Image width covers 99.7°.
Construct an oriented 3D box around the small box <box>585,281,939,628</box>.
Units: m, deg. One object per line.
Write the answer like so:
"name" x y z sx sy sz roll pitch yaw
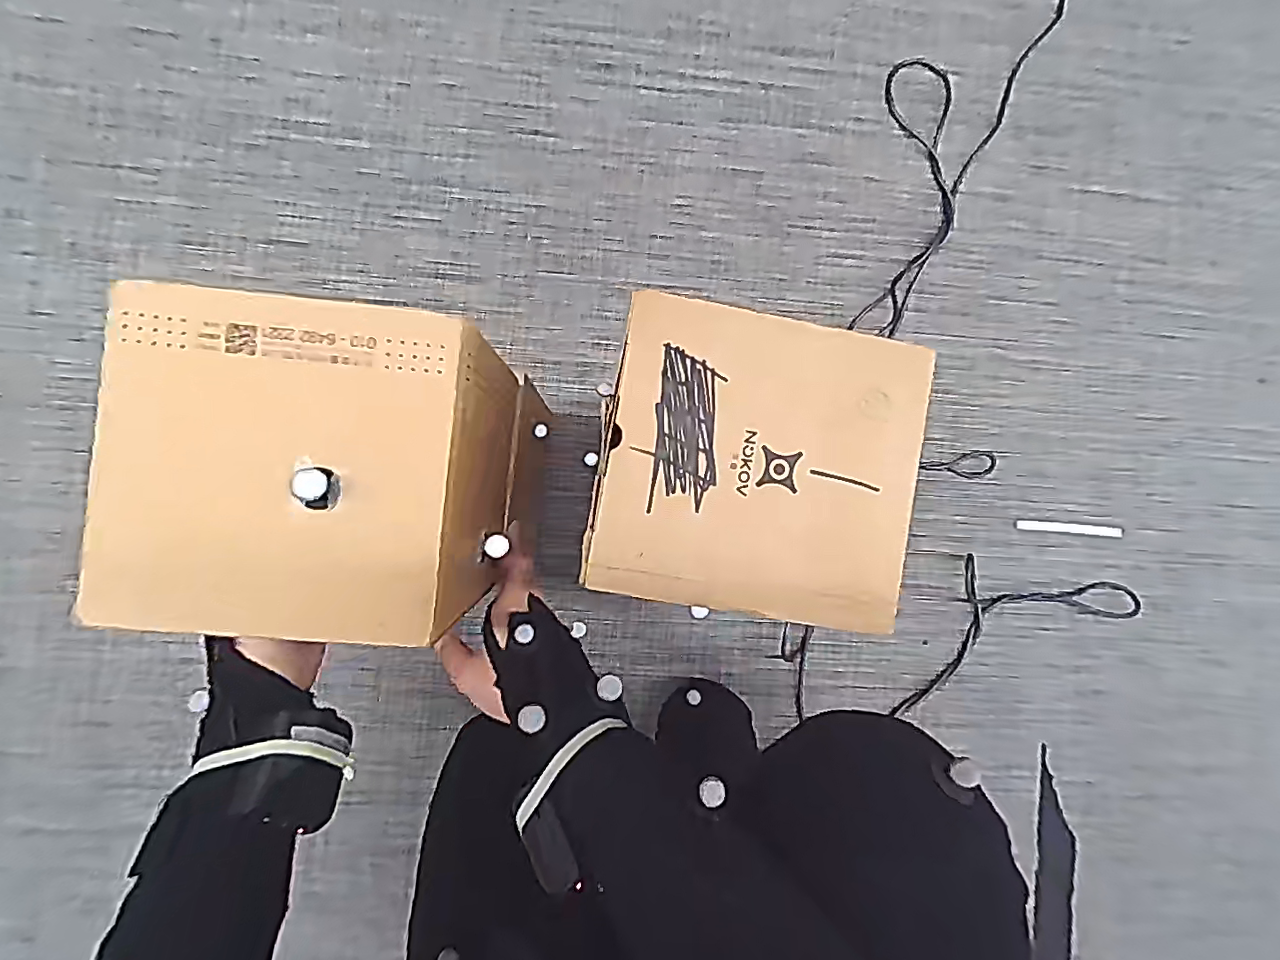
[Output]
"small box" 0.063 -0.010 0.373 0.179 0.176 0.168 10 87 -5
